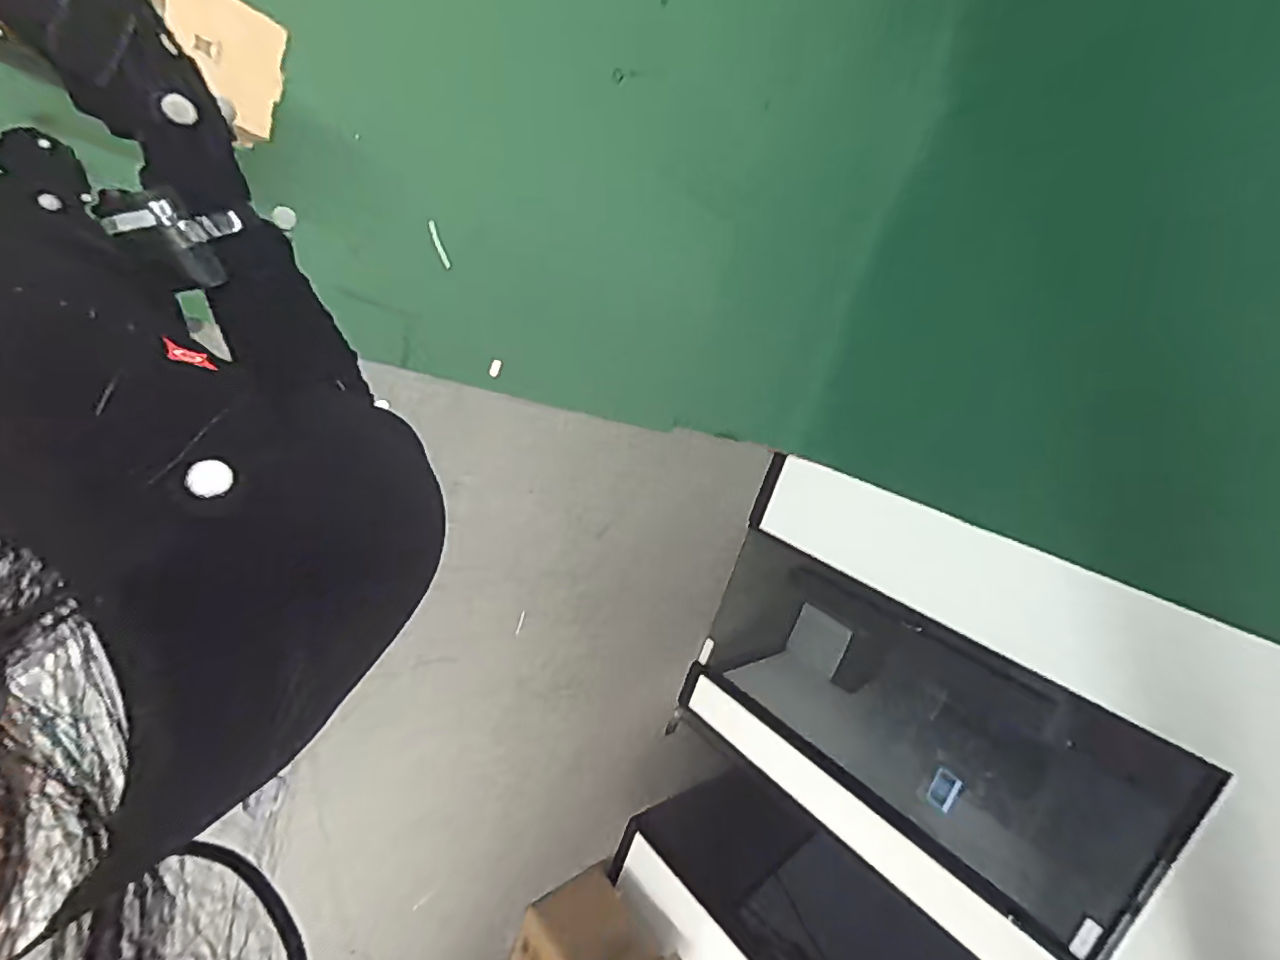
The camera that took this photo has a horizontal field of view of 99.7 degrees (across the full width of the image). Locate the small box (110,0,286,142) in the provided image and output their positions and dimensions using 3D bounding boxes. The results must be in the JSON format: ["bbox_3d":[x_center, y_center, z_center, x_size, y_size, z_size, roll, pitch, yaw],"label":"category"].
[{"bbox_3d":[-0.692,-0.662,0.846,0.179,0.176,0.168,7,106,-49],"label":"small box"}]
